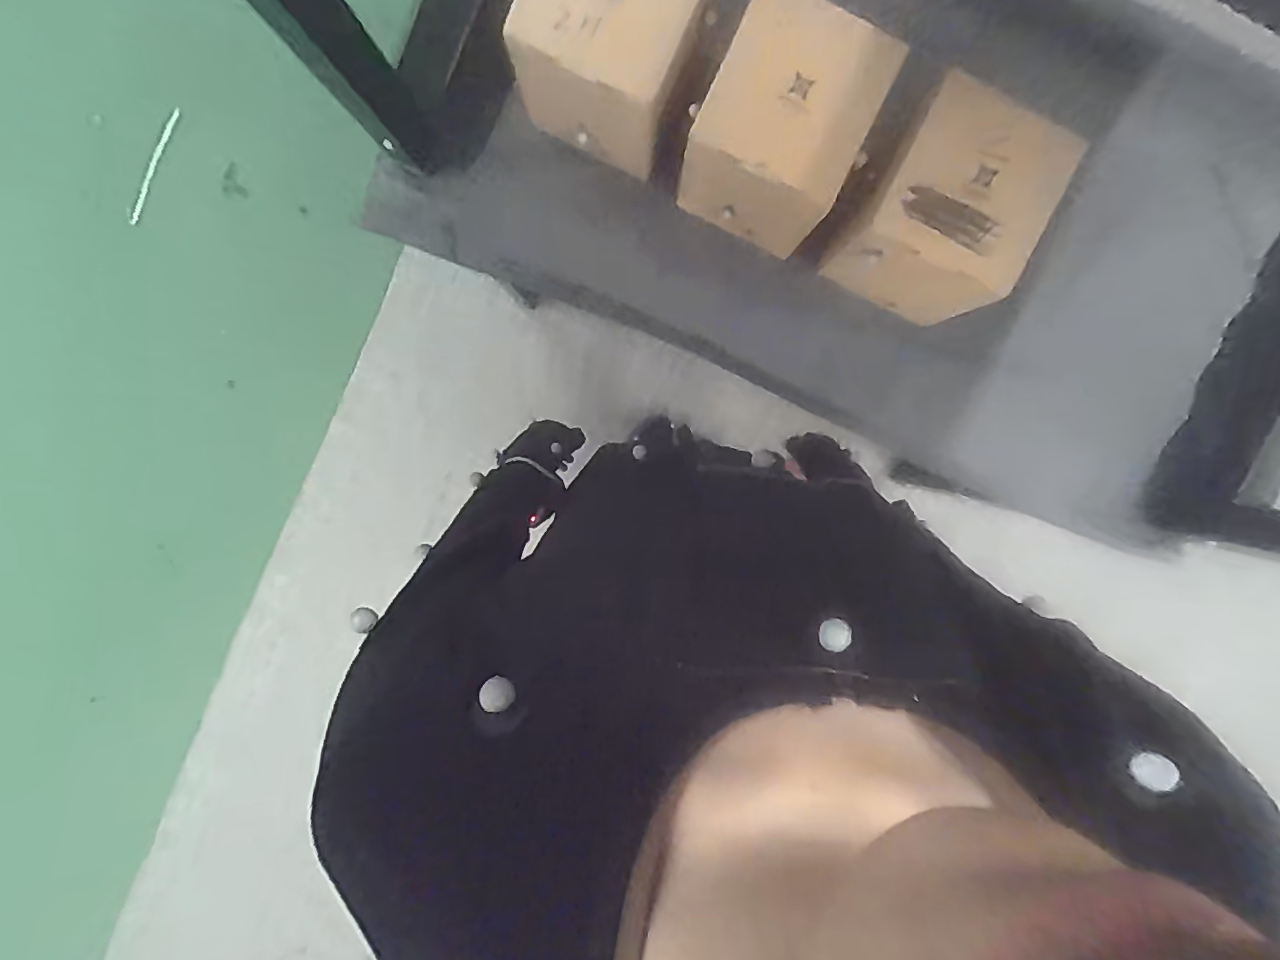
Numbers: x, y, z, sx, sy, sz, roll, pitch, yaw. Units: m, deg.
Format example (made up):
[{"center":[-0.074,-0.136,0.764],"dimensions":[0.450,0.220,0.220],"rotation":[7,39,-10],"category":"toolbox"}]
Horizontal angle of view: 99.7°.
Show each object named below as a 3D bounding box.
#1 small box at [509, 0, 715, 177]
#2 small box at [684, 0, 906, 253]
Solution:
[{"center":[-0.025,-0.493,0.614],"dimensions":[0.168,0.176,0.179],"rotation":[25,95,-3],"category":"small box"},{"center":[0.160,-0.399,0.628],"dimensions":[0.168,0.176,0.179],"rotation":[25,95,-3],"category":"small box"}]
